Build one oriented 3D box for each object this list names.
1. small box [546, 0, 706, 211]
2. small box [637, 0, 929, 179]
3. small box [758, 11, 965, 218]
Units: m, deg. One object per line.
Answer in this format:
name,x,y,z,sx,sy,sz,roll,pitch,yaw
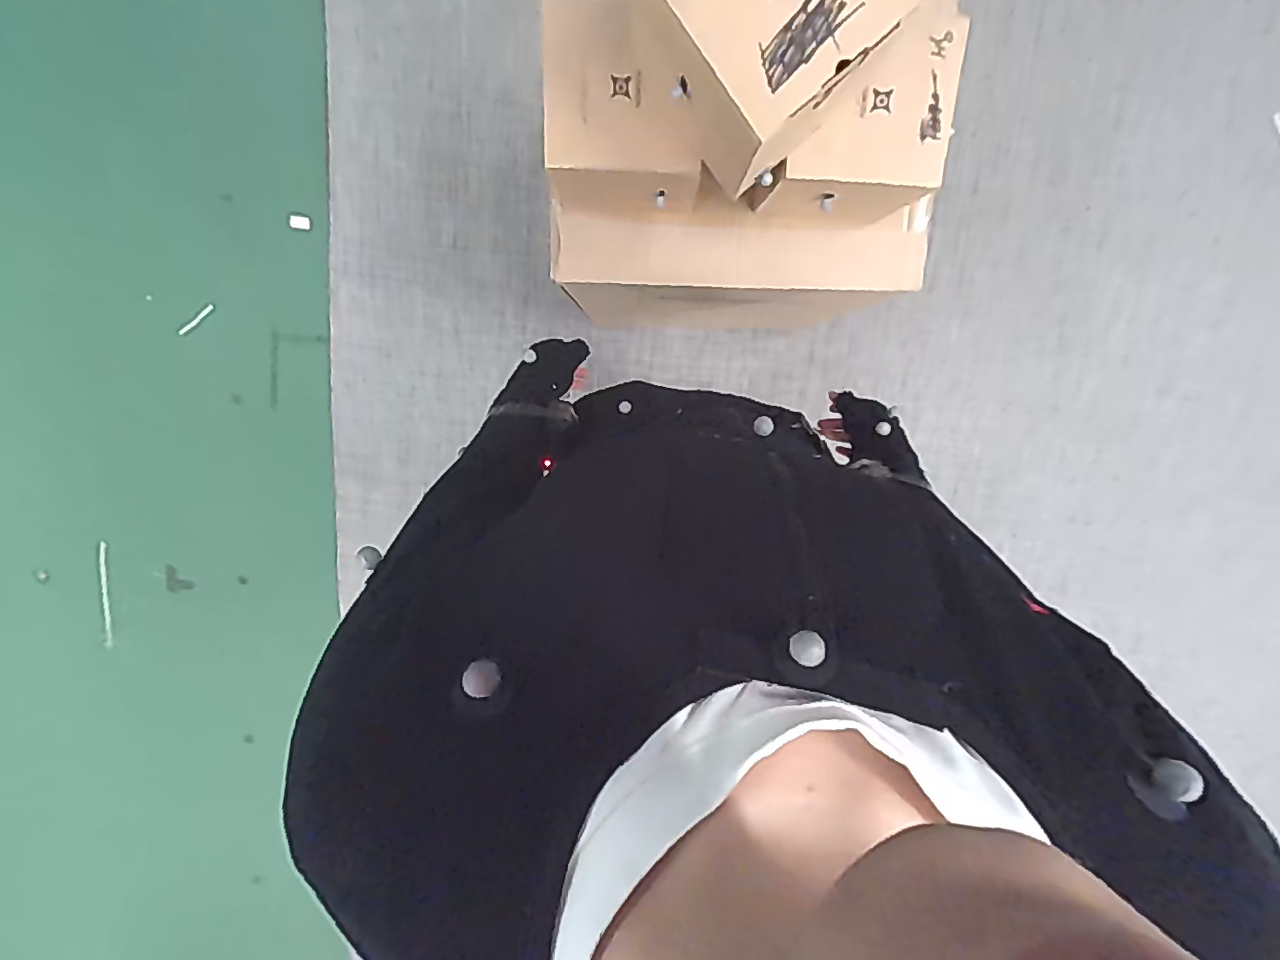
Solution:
small box,-0.012,-0.439,0.657,0.179,0.176,0.168,1,102,1
small box,0.113,-0.410,0.494,0.168,0.176,0.179,-38,99,8
small box,0.248,-0.429,0.658,0.179,0.176,0.168,4,104,0
